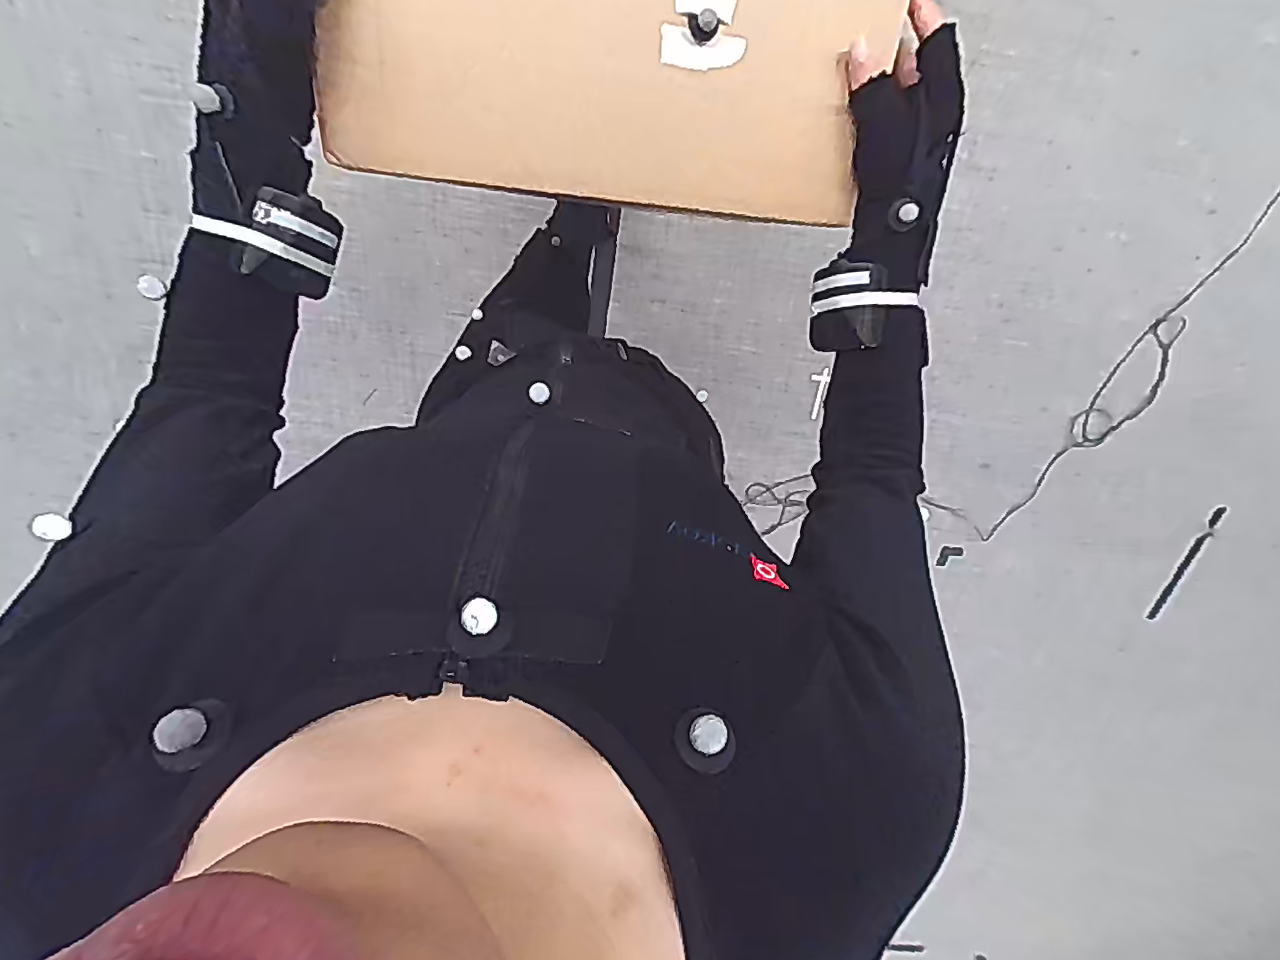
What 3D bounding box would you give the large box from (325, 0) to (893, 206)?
[{"bbox_3d":[-0.021,-0.440,0.492,0.408,0.320,0.320,4,117,-4],"label":"large box"}]
